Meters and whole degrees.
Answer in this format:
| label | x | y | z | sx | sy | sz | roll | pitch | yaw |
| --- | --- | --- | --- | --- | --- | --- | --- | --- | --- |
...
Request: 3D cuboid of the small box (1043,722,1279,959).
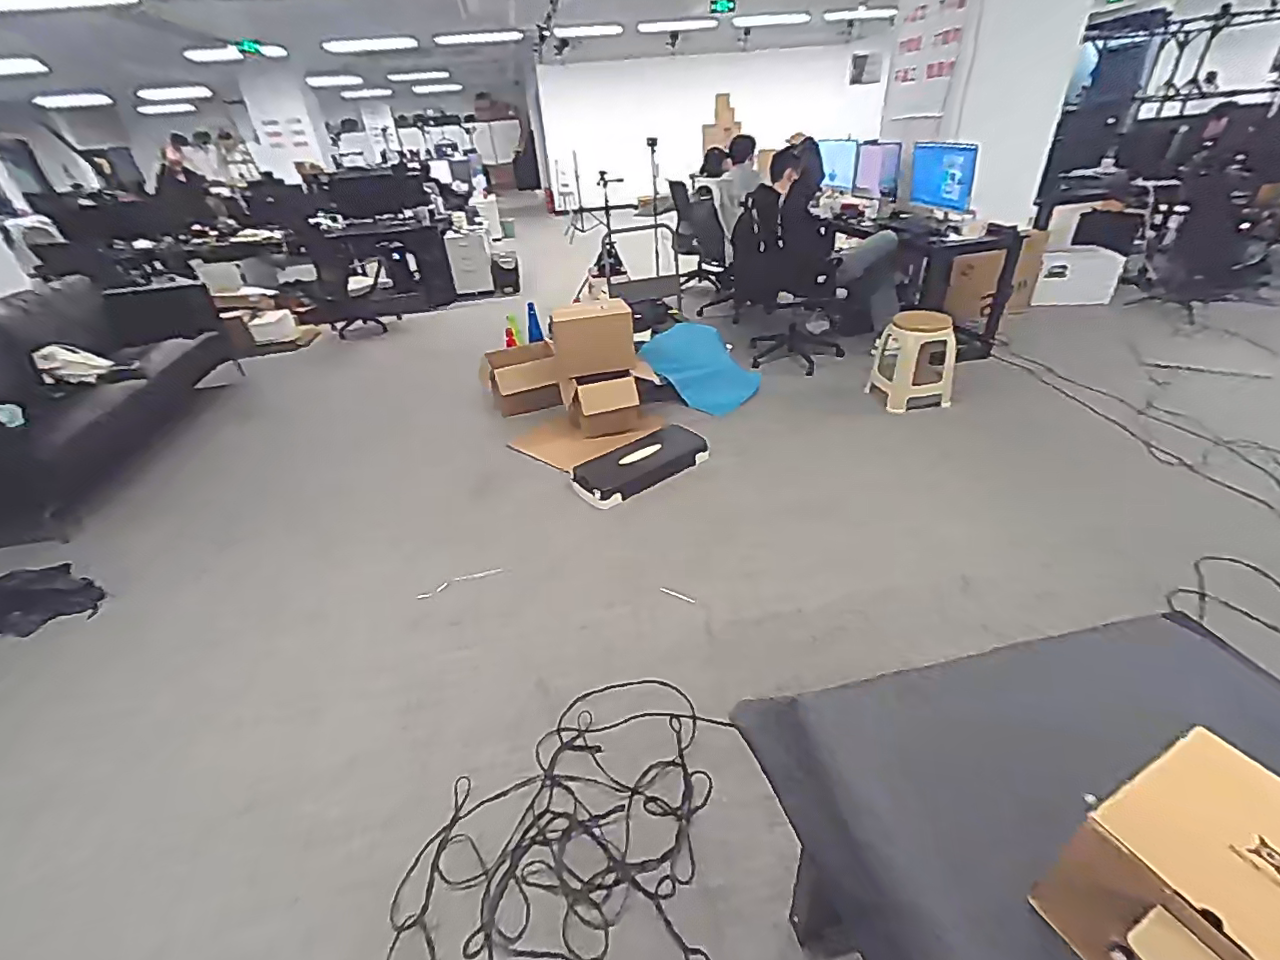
| label | x | y | z | sx | sy | sz | roll | pitch | yaw |
| --- | --- | --- | --- | --- | --- | --- | --- | --- | --- |
| small box | 0.500 | 0.358 | 0.468 | 0.179 | 0.176 | 0.168 | -19 | 36 | -20 |
